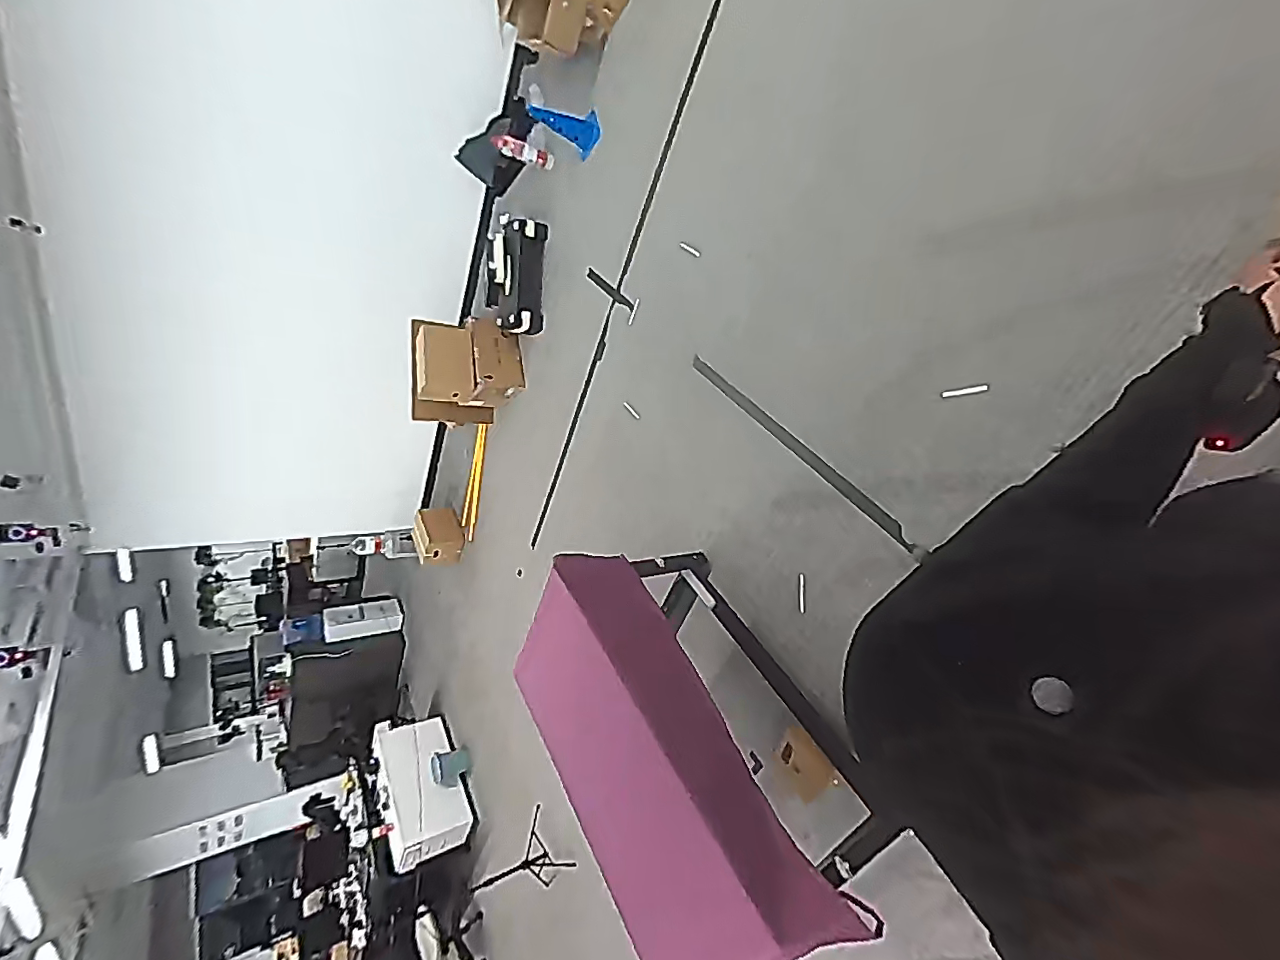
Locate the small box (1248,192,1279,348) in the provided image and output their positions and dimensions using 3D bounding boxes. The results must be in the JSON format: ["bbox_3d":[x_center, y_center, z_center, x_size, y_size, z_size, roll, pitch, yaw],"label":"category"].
[{"bbox_3d":[0.713,-0.223,0.504,0.168,0.176,0.179,10,101,42],"label":"small box"}]
